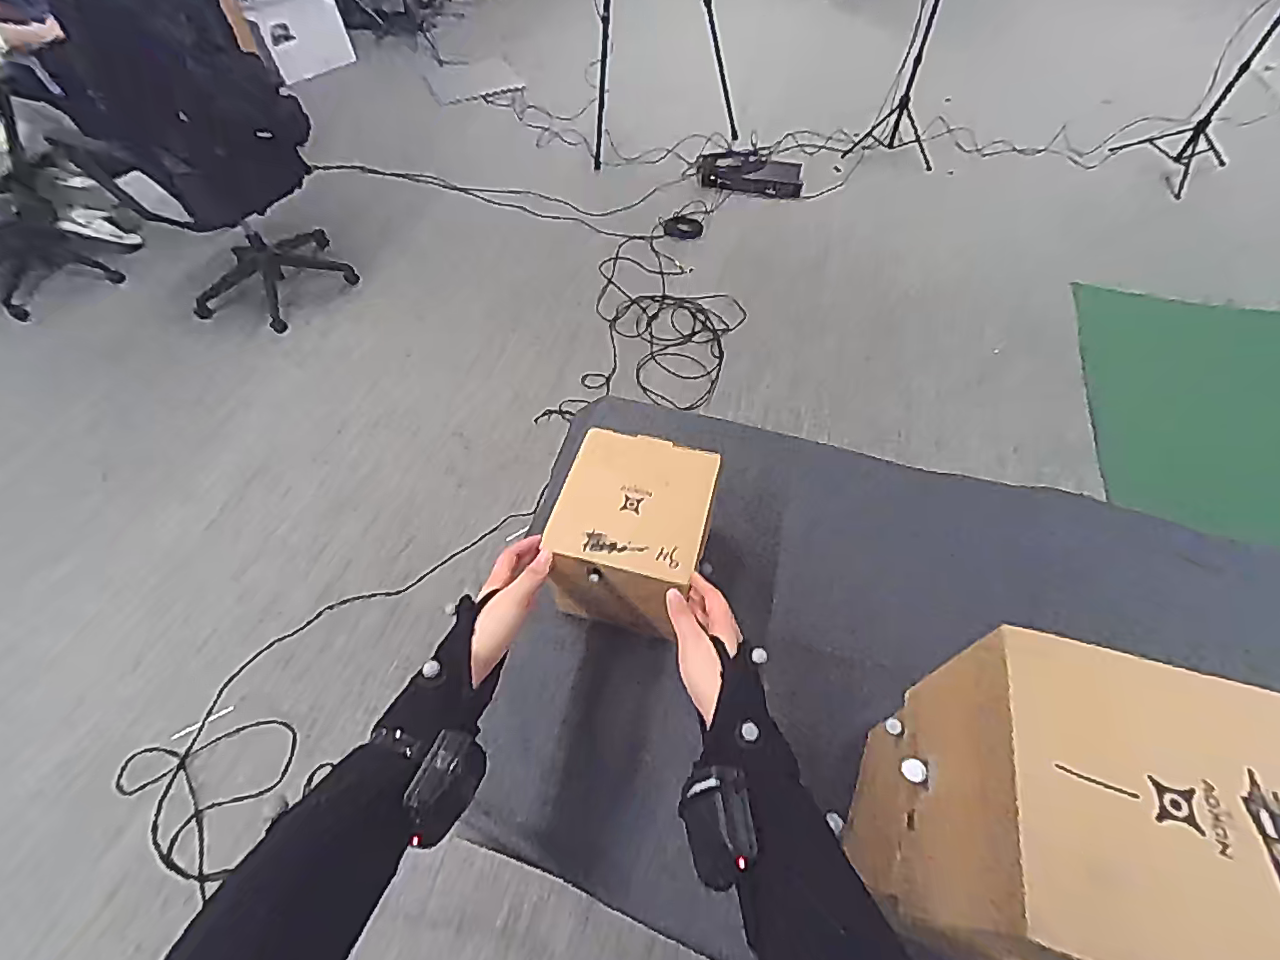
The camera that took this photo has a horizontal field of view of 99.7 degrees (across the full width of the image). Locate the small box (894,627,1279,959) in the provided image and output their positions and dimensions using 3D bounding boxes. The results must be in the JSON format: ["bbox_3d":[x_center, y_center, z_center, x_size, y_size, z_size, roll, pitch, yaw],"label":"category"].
[{"bbox_3d":[0.286,0.222,0.347,0.179,0.176,0.168,13,55,12],"label":"small box"}]

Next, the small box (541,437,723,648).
[{"bbox_3d":[-0.004,0.078,0.663,0.168,0.176,0.179,13,55,10],"label":"small box"}]
